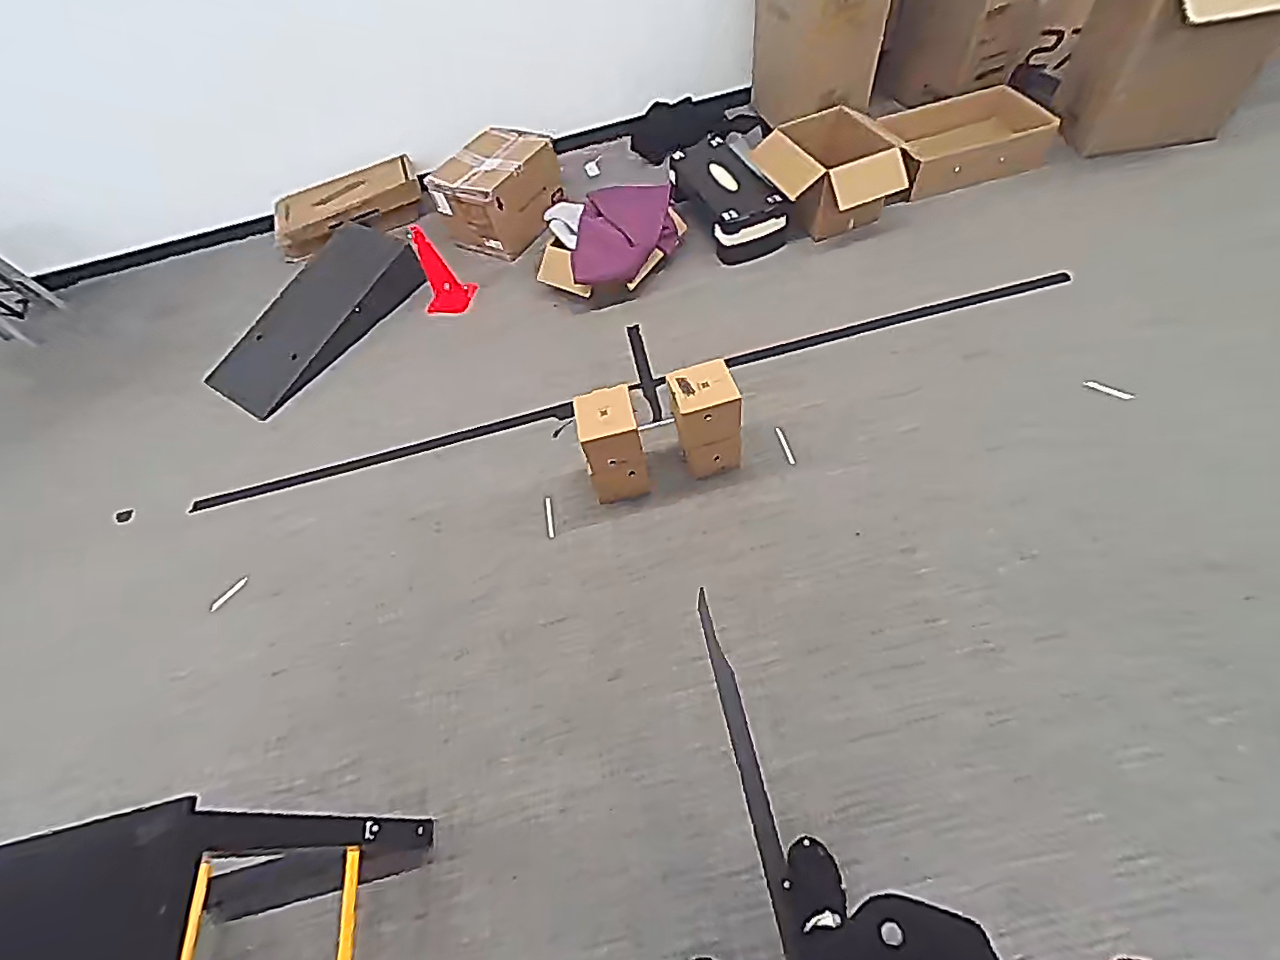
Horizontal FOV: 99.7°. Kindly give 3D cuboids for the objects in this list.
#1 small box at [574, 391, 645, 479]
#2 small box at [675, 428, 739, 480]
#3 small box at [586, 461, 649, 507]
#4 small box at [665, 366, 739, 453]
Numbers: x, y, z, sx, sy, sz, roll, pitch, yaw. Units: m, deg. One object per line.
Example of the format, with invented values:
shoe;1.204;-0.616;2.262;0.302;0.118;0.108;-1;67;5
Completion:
small box;-0.090;-0.131;1.601;0.168;0.176;0.179;-15;57;2
small box;0.215;-0.118;1.739;0.168;0.176;0.179;-16;56;-1
small box;-0.072;-0.036;1.733;0.179;0.176;0.168;-13;55;2
small box;0.185;-0.204;1.601;0.179;0.176;0.168;-16;55;-2
